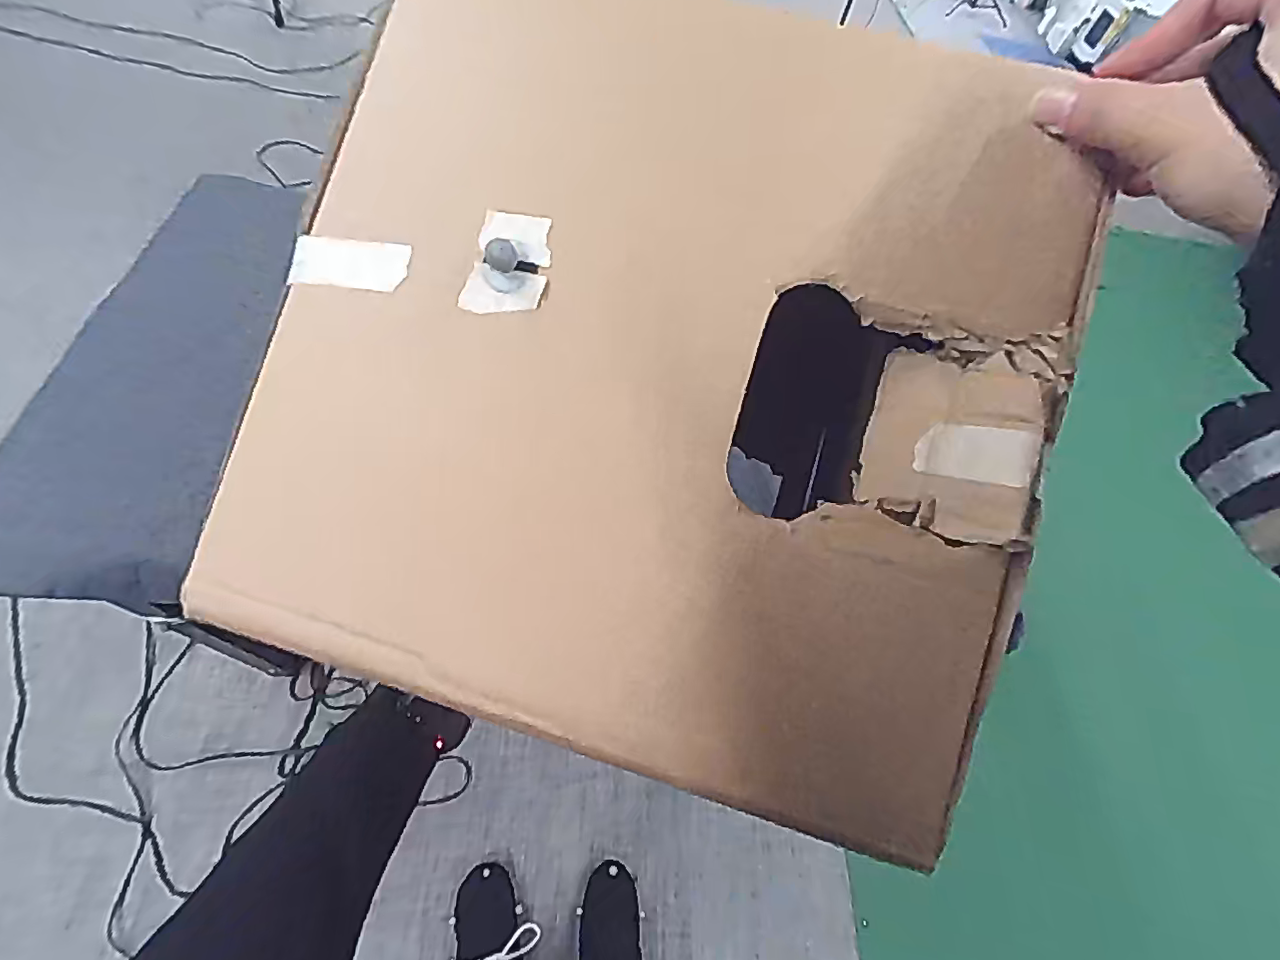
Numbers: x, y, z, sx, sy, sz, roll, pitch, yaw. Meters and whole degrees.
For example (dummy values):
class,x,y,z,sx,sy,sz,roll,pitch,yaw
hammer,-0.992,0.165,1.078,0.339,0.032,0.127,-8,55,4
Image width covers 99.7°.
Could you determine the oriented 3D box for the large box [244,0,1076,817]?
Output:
class,x,y,z,sx,sy,sz,roll,pitch,yaw
large box,0.014,-0.035,0.425,0.320,0.408,0.320,16,87,4
